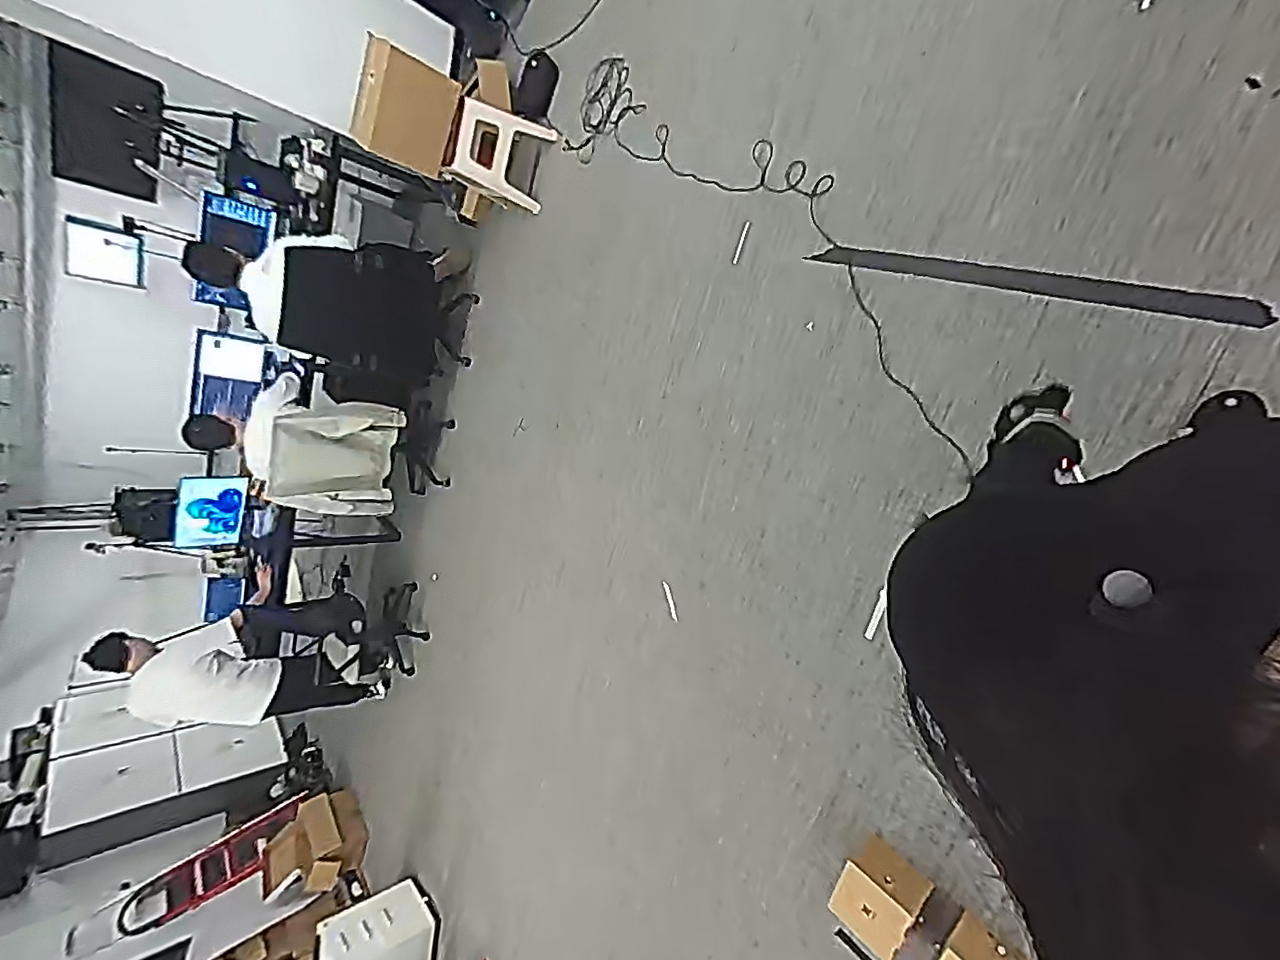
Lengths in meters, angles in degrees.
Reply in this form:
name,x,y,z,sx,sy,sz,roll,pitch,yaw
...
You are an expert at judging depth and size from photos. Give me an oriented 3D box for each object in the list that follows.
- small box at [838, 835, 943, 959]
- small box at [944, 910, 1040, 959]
name,x,y,z,sx,sy,sz,roll,pitch,yaw
small box,0.666,1.093,1.431,0.179,0.176,0.168,29,108,43
small box,0.820,1.179,1.270,0.168,0.176,0.179,33,111,41
